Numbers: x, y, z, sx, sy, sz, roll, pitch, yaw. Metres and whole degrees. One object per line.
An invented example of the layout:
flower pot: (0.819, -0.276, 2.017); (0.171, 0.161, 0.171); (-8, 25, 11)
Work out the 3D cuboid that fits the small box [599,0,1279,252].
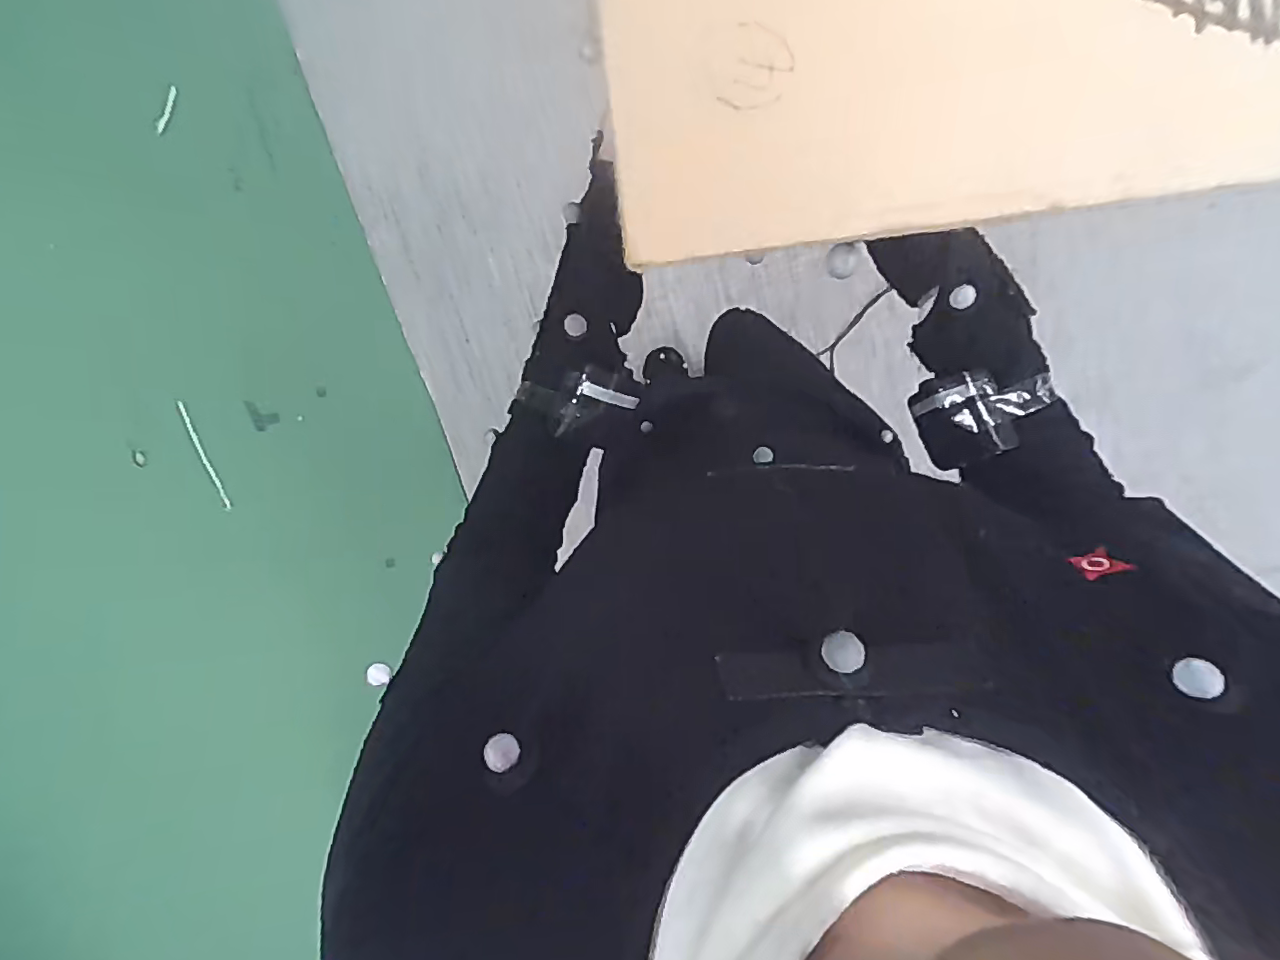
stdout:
small box: (0.075, -0.180, 0.179); (0.179, 0.176, 0.168); (-10, 114, 2)
